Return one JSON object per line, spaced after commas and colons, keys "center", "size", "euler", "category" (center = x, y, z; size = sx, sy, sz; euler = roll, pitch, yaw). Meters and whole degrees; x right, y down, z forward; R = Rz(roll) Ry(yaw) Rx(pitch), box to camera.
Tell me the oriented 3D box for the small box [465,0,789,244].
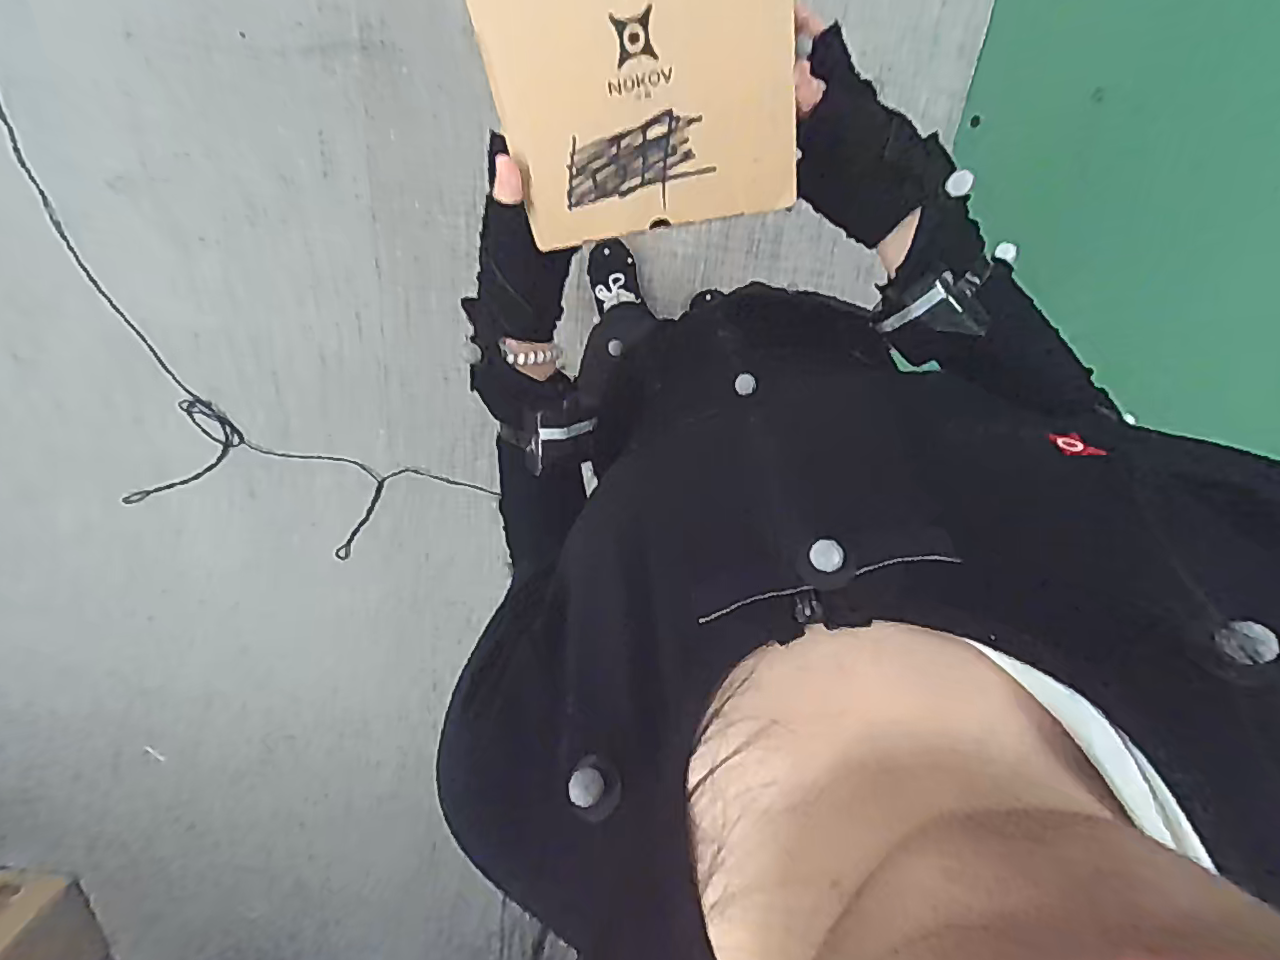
{"center": [0.005, -0.276, 0.348], "size": [0.168, 0.176, 0.179], "euler": [-4, 127, 12], "category": "small box"}
